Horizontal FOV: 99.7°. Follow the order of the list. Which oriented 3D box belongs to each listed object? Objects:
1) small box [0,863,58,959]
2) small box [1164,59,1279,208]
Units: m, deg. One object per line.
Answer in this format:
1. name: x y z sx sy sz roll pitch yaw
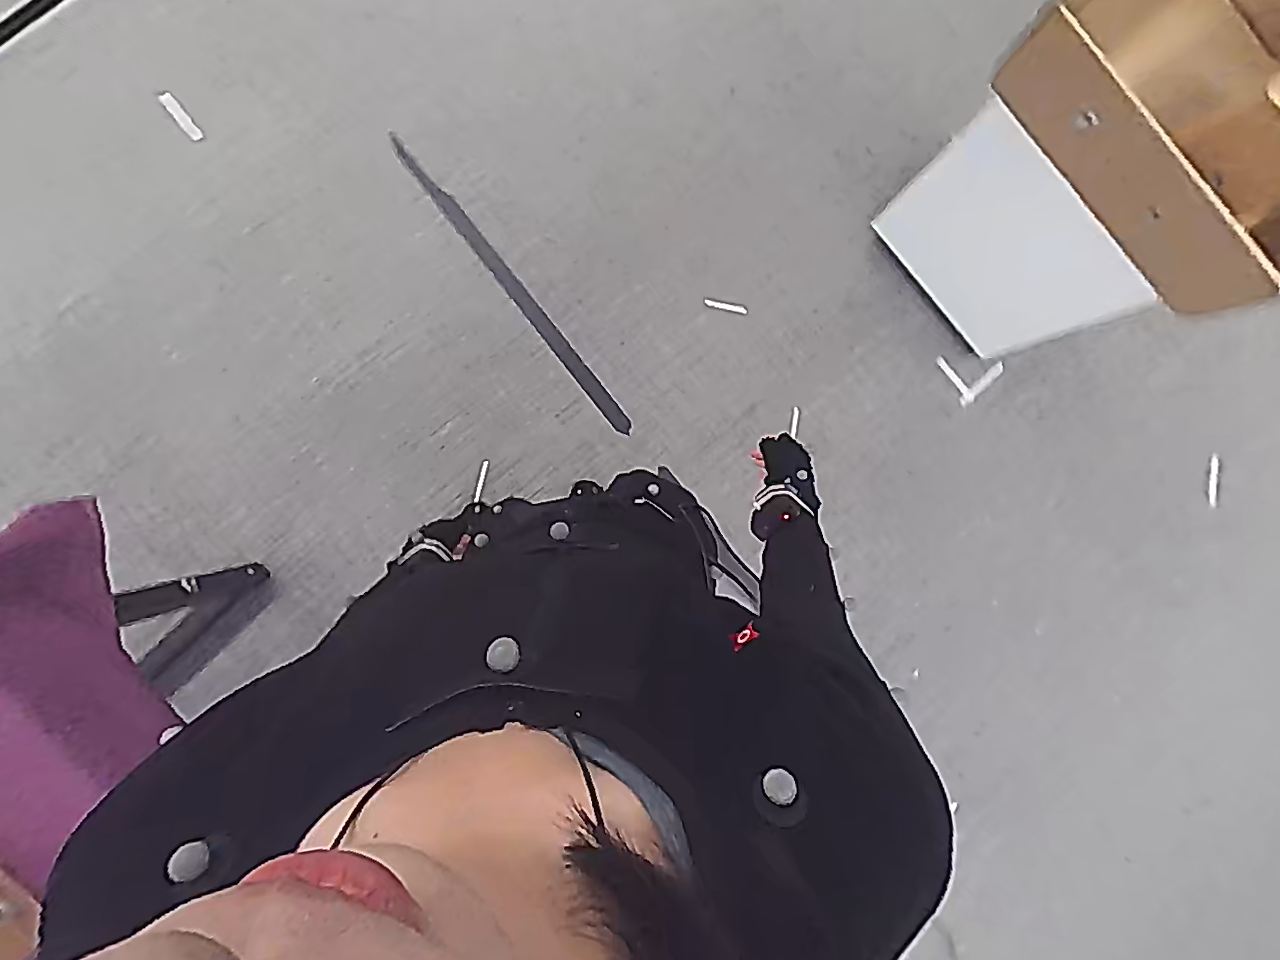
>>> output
1. small box: -0.881 0.603 0.638 0.179 0.176 0.168 -45 93 -4
2. small box: 1.063 -0.590 0.903 0.168 0.176 0.179 -41 91 2
